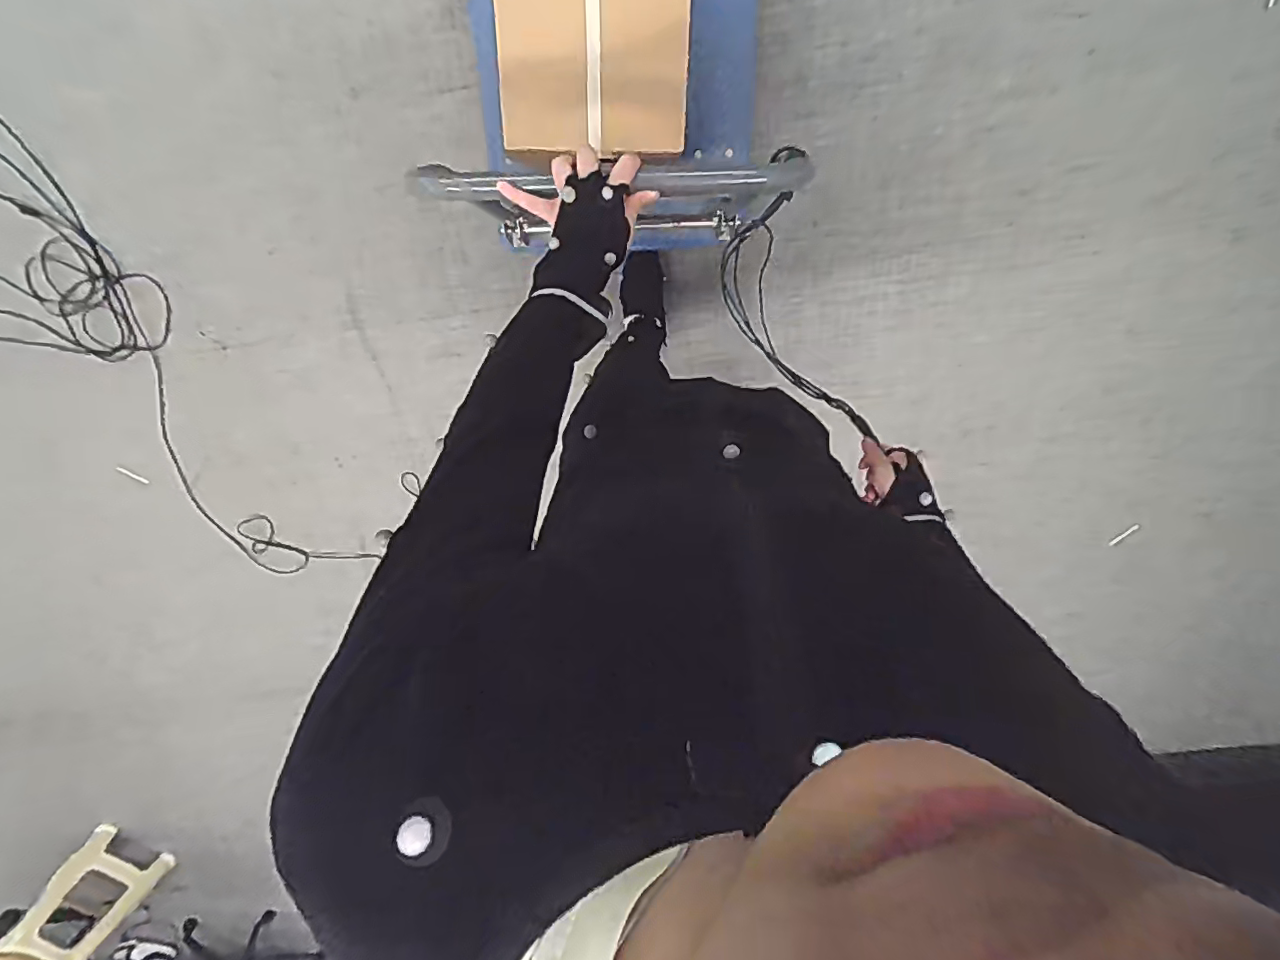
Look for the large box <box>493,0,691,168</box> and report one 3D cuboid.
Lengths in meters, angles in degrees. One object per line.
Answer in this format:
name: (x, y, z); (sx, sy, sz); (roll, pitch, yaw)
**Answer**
large box: (-0.074, -0.812, 0.976); (0.320, 0.320, 0.408); (1, 112, -1)
